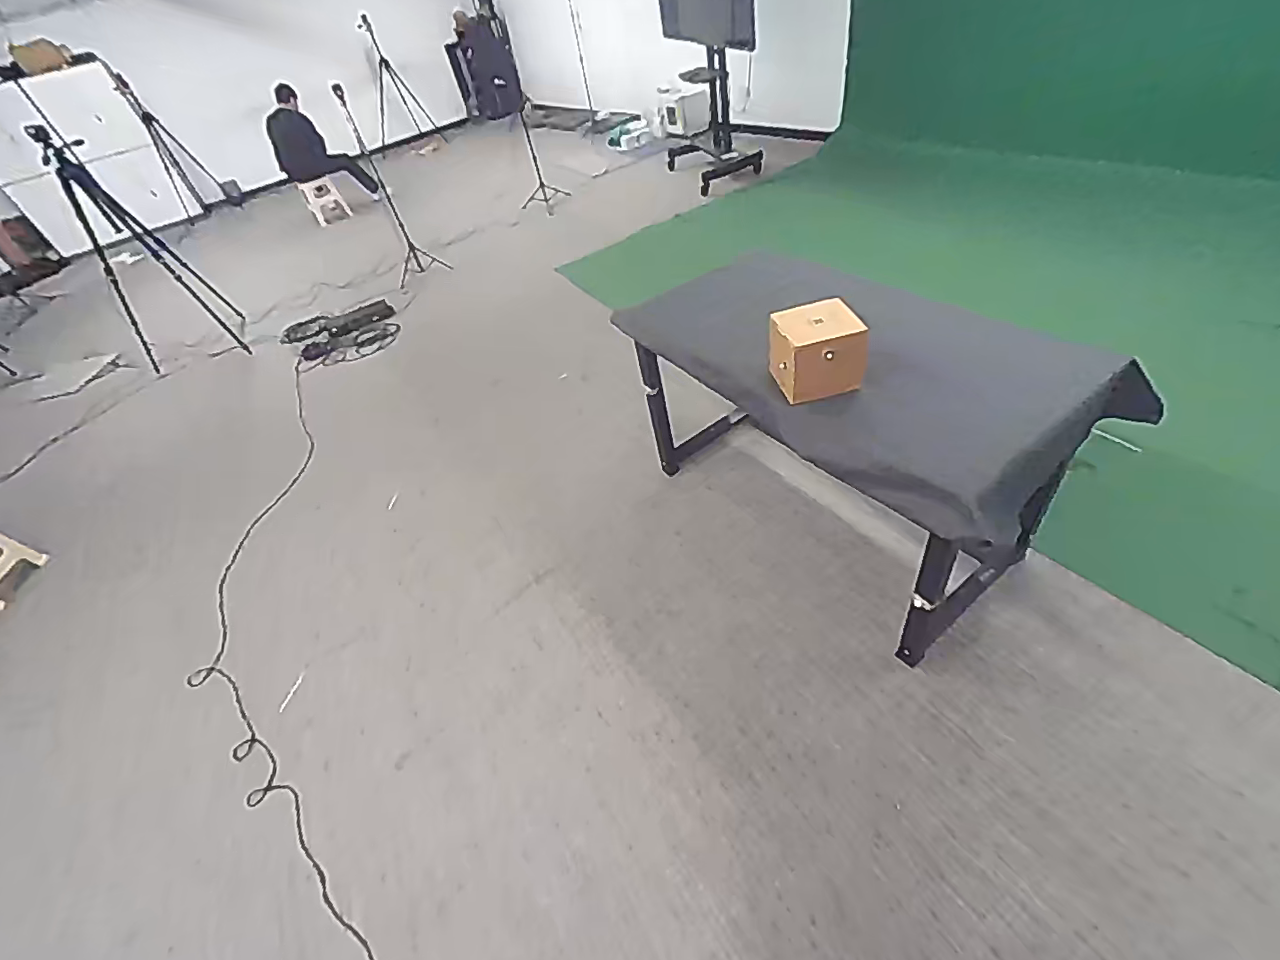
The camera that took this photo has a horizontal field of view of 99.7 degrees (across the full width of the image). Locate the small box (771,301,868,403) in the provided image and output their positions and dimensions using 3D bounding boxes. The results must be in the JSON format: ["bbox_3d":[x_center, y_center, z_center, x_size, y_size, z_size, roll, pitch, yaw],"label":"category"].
[{"bbox_3d":[0.430,-0.309,1.321,0.179,0.176,0.168,-13,44,0],"label":"small box"}]
